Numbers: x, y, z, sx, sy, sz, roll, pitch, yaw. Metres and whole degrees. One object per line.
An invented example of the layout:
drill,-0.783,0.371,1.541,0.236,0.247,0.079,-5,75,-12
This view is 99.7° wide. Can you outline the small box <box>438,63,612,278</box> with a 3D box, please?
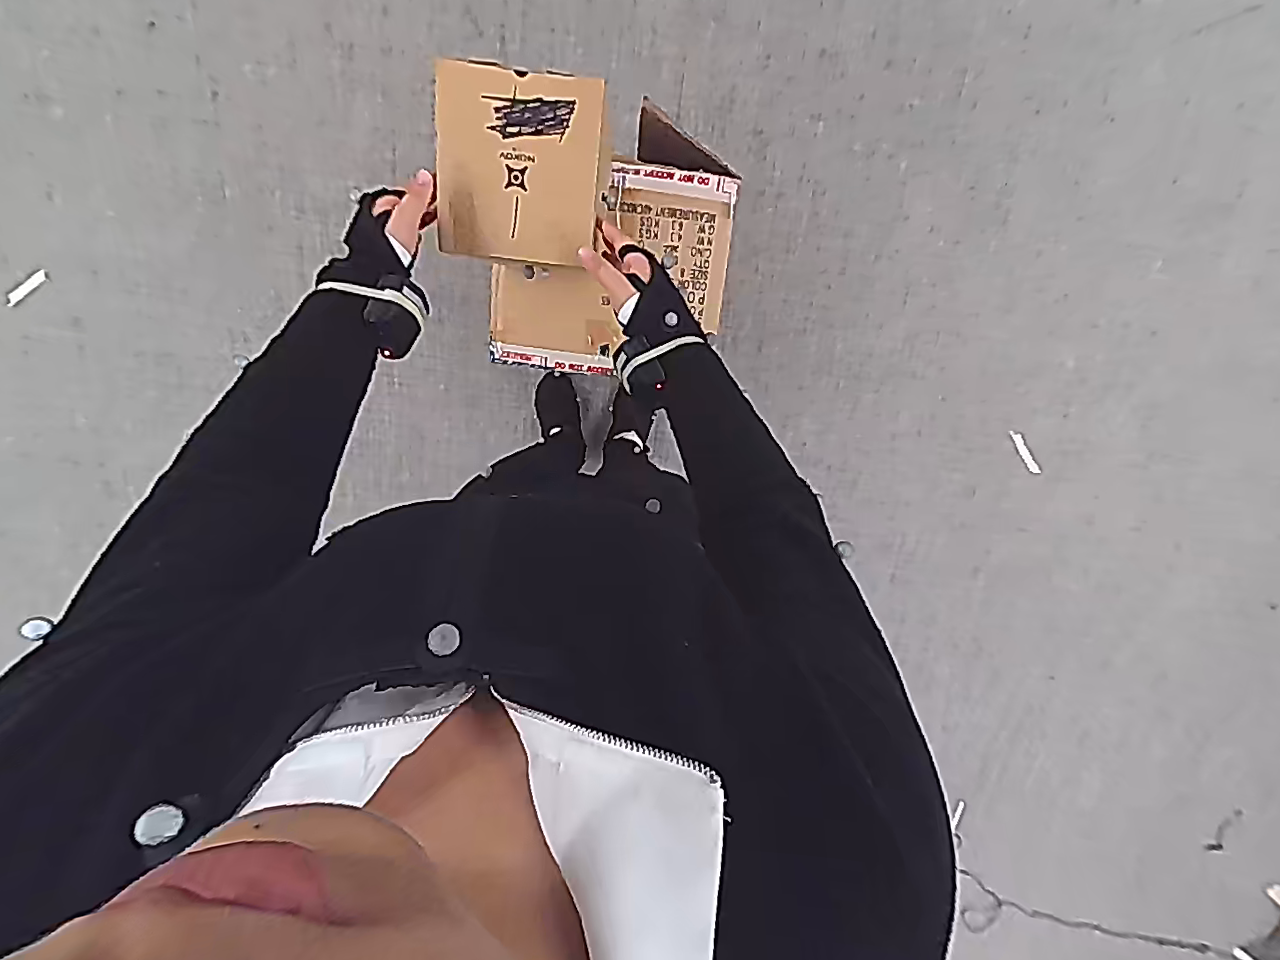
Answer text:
small box,-0.123,-0.338,0.626,0.168,0.176,0.179,7,109,-2
